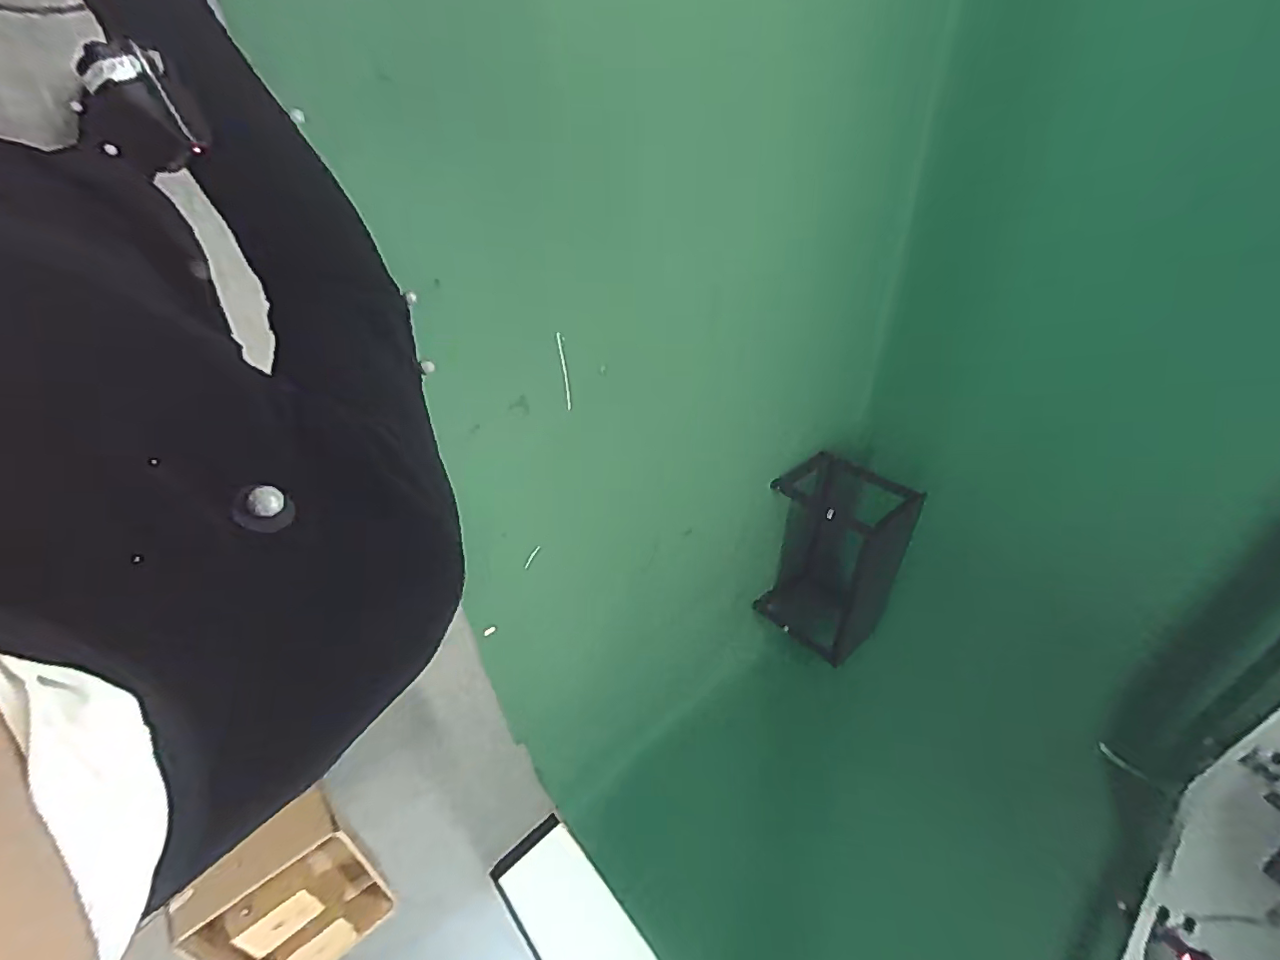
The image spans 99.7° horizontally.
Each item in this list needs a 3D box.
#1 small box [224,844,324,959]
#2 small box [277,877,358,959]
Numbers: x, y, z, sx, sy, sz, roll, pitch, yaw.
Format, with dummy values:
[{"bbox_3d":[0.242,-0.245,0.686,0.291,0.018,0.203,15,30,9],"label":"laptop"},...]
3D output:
[{"bbox_3d":[-1.027,1.178,1.512,0.179,0.176,0.168,-30,135,-31],"label":"small box"},{"bbox_3d":[-1.014,1.389,1.676,0.179,0.176,0.168,-26,132,-33],"label":"small box"}]
